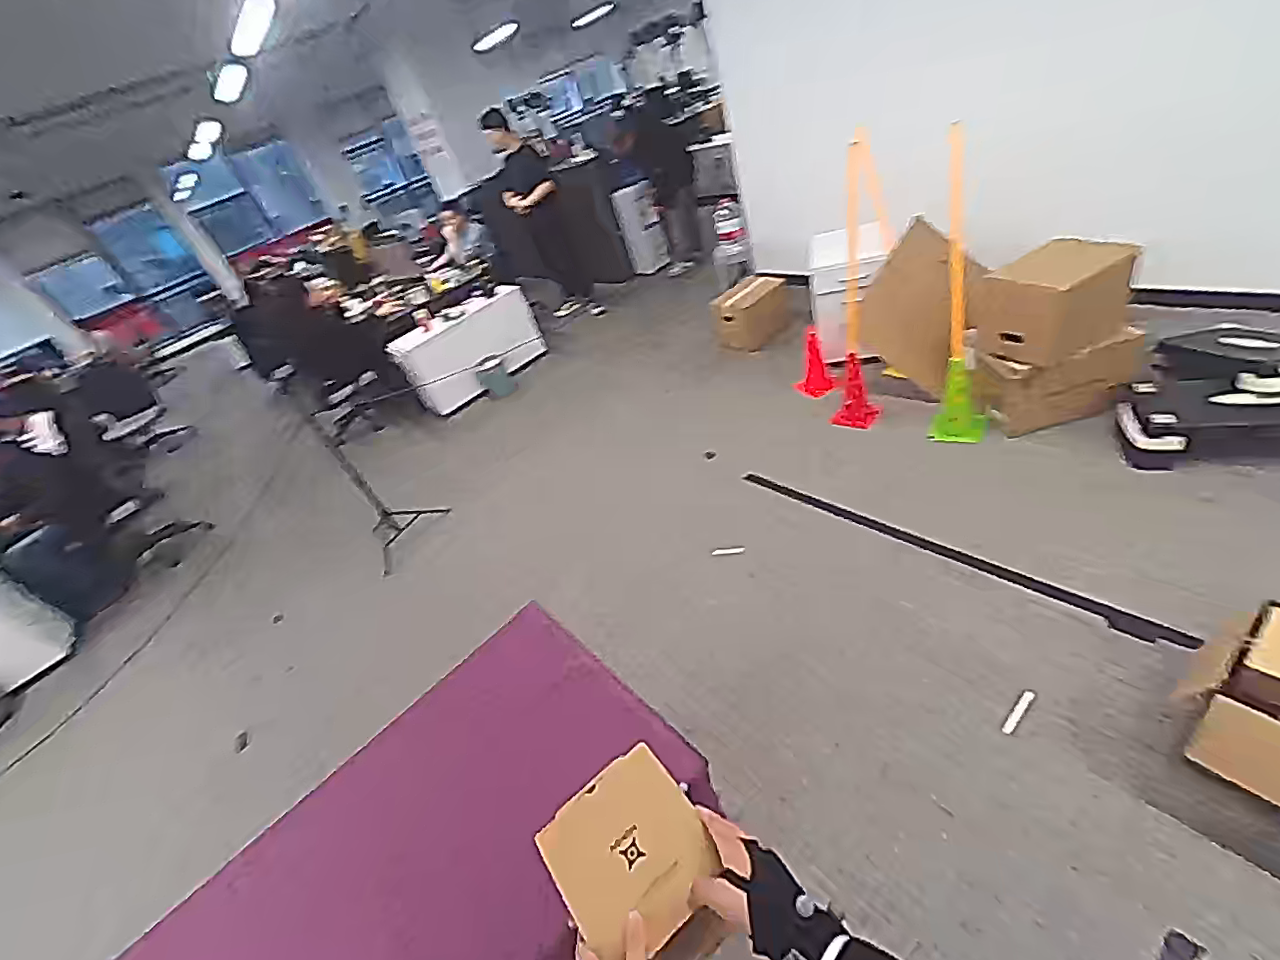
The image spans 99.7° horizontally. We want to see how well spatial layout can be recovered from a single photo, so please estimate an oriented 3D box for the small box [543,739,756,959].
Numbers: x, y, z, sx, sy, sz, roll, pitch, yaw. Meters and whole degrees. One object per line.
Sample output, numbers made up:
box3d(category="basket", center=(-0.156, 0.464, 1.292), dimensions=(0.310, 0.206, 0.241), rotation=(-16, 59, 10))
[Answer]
box3d(category="small box", center=(0.015, 0.463, 0.647), dimensions=(0.168, 0.176, 0.179), rotation=(-34, 40, -18))
